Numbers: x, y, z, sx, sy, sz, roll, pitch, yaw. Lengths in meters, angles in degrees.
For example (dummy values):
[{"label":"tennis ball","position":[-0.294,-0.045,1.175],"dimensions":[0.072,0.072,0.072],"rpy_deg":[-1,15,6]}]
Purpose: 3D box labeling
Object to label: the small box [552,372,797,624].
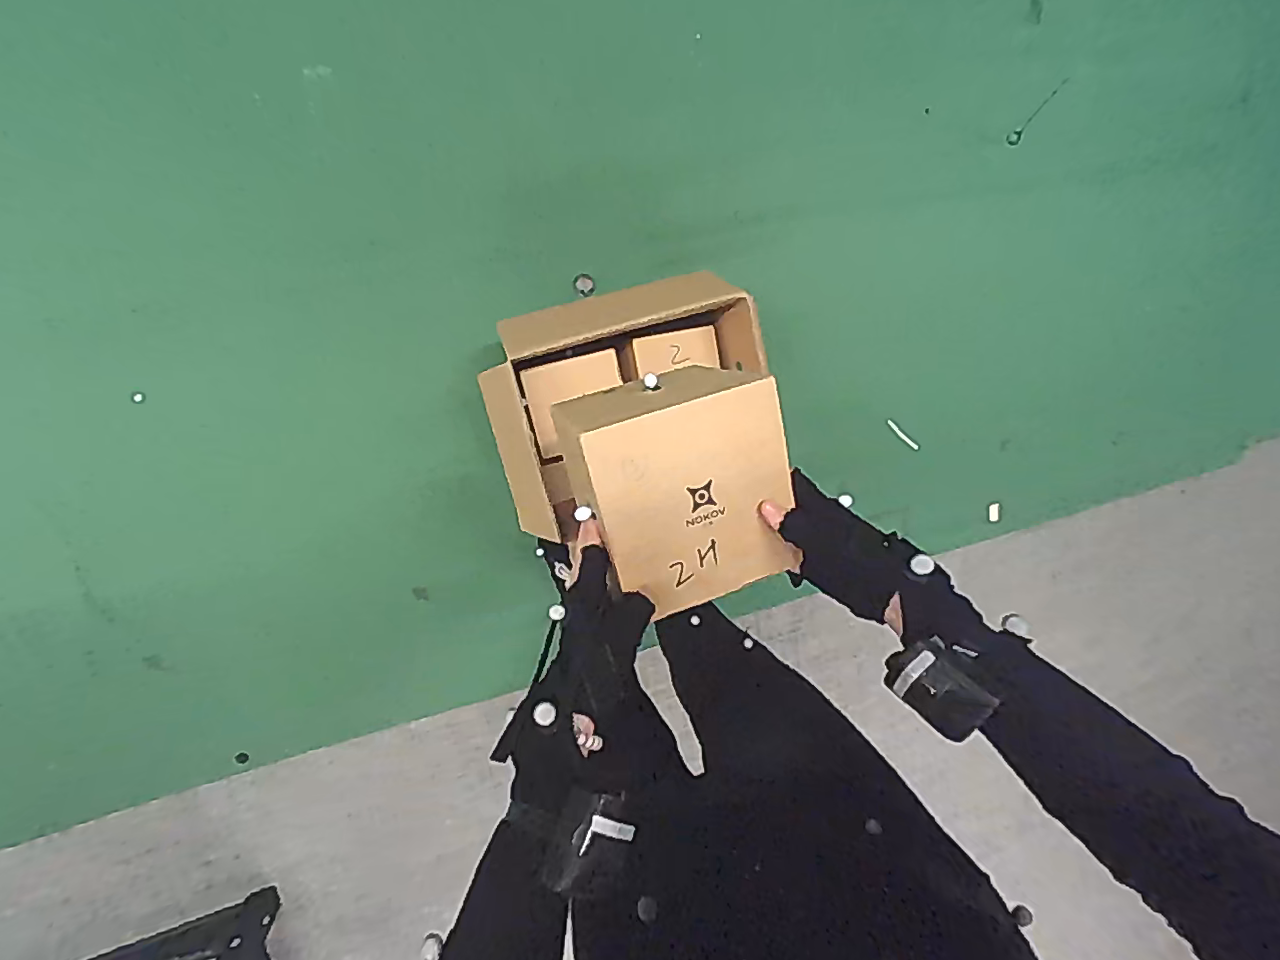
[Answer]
[{"label":"small box","position":[0.024,-0.001,0.516],"dimensions":[0.168,0.176,0.179],"rpy_deg":[-18,110,-12]}]
